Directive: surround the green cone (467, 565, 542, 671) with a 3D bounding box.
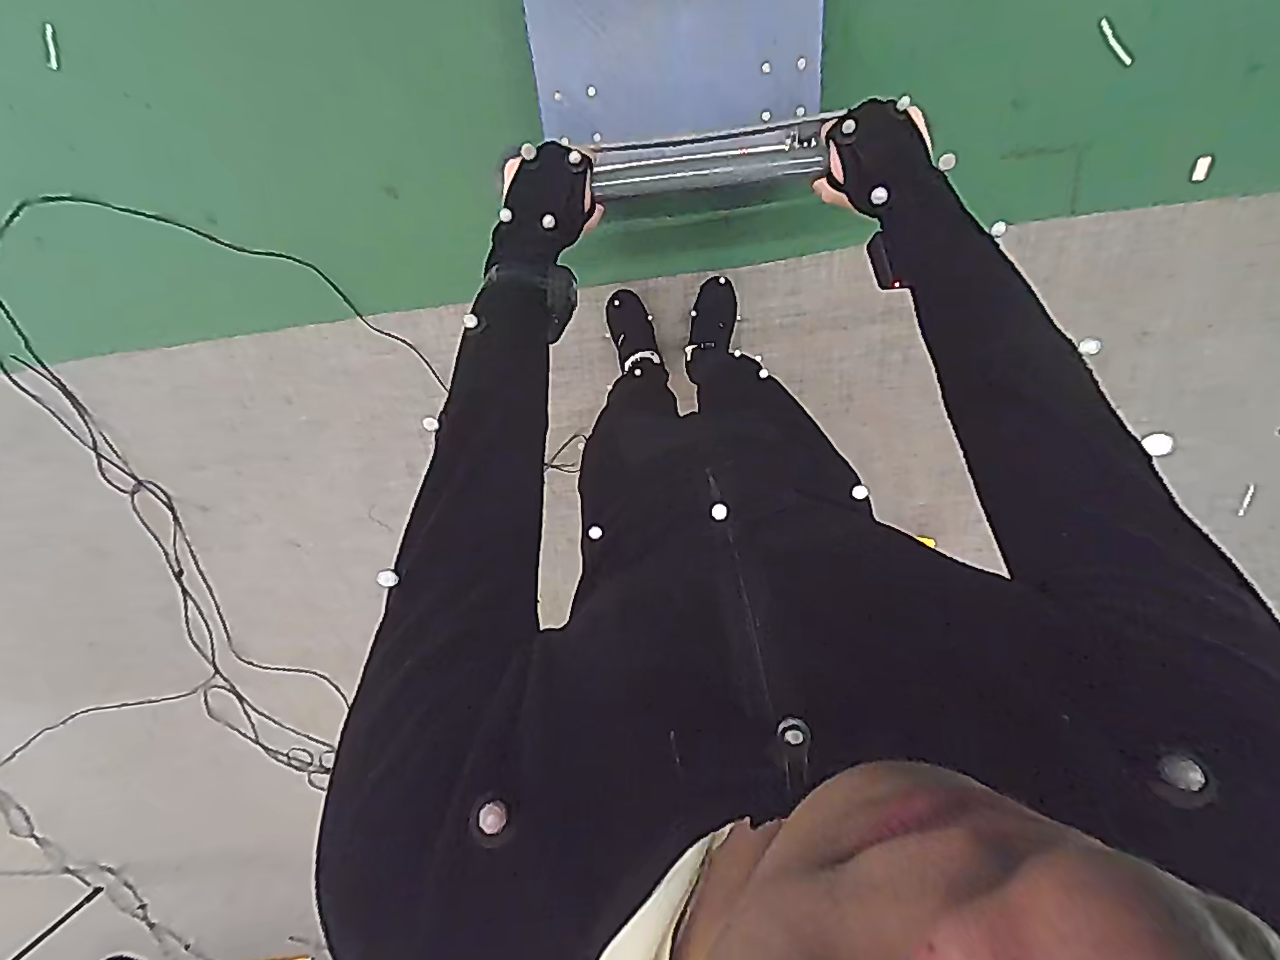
[{"bbox_3d":[-0.473,0.465,1.750,0.202,0.368,0.200,-9,116,9],"label":"green cone"}]
